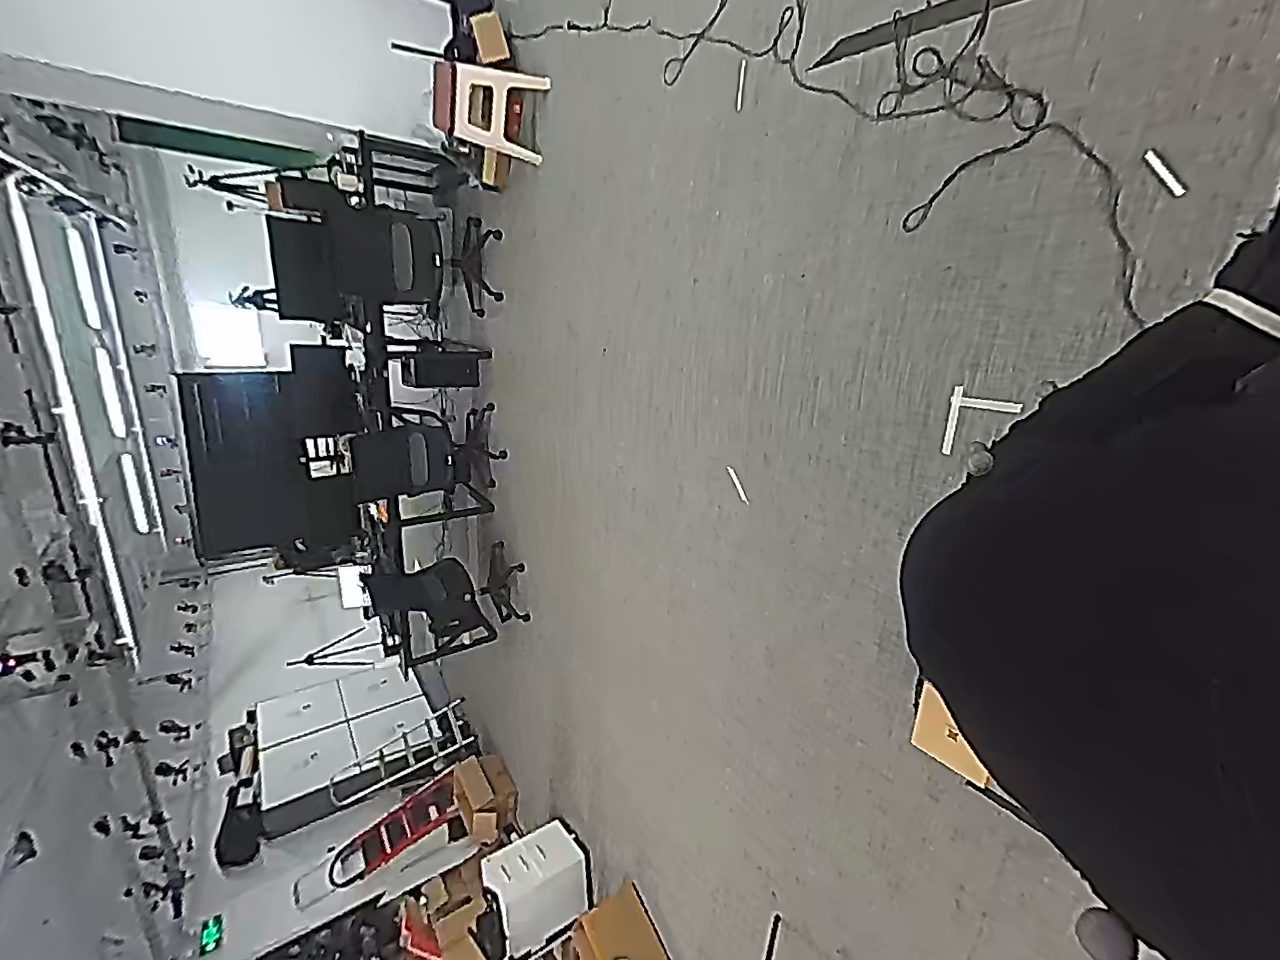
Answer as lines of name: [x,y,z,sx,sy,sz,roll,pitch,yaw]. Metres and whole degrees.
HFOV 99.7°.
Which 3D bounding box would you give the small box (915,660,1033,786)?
small box: [0.770,0.551,1.248,0.168,0.176,0.179,23,116,50]
